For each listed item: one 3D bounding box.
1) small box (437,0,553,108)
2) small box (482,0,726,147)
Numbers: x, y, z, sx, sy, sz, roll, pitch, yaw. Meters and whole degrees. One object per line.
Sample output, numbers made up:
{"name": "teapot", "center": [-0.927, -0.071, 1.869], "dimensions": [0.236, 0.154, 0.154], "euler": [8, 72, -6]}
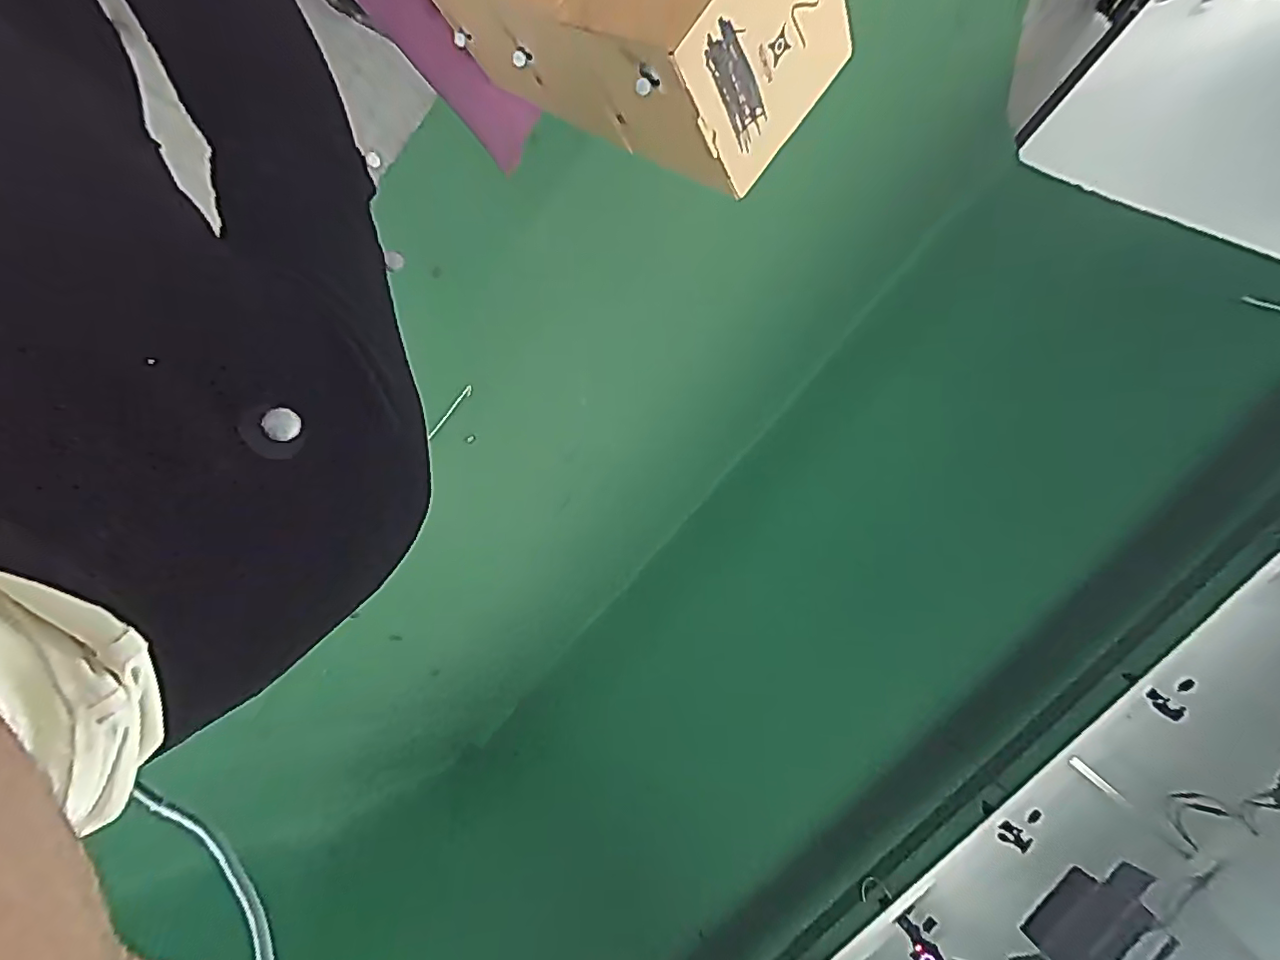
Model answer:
{"name": "small box", "center": [-0.147, -0.618, 0.665], "dimensions": [0.168, 0.176, 0.179], "euler": [-49, 152, 5]}
{"name": "small box", "center": [-0.041, -0.520, 0.589], "dimensions": [0.179, 0.176, 0.168], "euler": [-48, 150, 5]}
